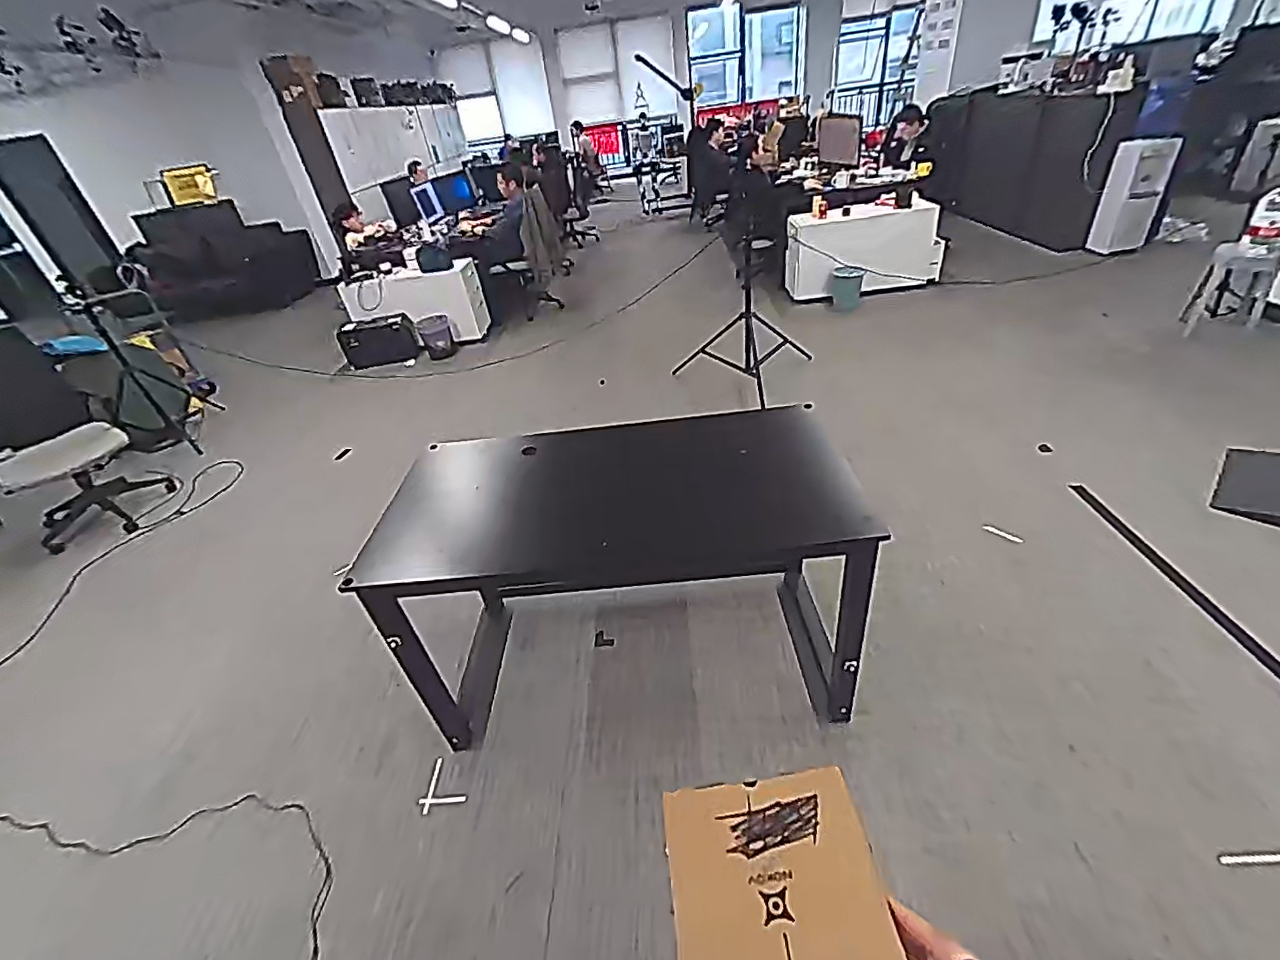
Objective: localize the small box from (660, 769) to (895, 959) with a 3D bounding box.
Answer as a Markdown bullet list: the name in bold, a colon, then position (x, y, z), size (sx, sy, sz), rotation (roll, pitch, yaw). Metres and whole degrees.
- **small box**: position (0.116, 0.395, 0.484), size (0.168, 0.176, 0.179), rotation (-11, 38, 3)
